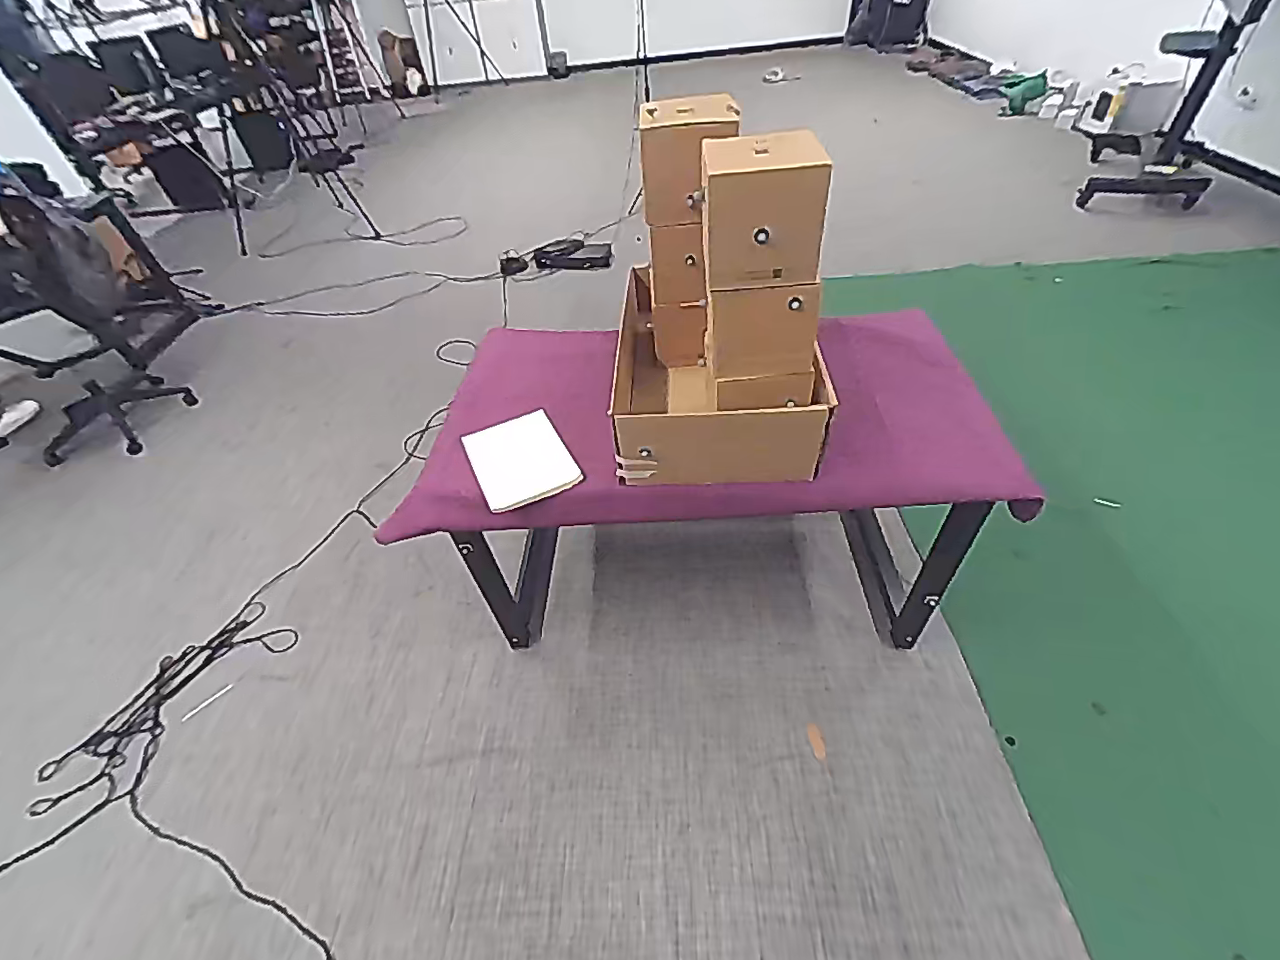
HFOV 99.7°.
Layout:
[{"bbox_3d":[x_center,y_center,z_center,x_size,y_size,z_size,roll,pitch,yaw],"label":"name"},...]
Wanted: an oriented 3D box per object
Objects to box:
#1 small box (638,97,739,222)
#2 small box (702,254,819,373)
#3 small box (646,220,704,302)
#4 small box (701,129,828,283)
[{"bbox_3d":[0.089,-0.614,1.041,0.179,0.176,0.168,-1,47,3],"label":"small box"},{"bbox_3d":[0.201,-0.300,0.949,0.179,0.176,0.168,-2,45,5],"label":"small box"},{"bbox_3d":[0.104,-0.500,1.158,0.179,0.176,0.168,-4,47,3],"label":"small box"},{"bbox_3d":[0.180,-0.416,0.833,0.168,0.176,0.179,-2,44,5],"label":"small box"}]
